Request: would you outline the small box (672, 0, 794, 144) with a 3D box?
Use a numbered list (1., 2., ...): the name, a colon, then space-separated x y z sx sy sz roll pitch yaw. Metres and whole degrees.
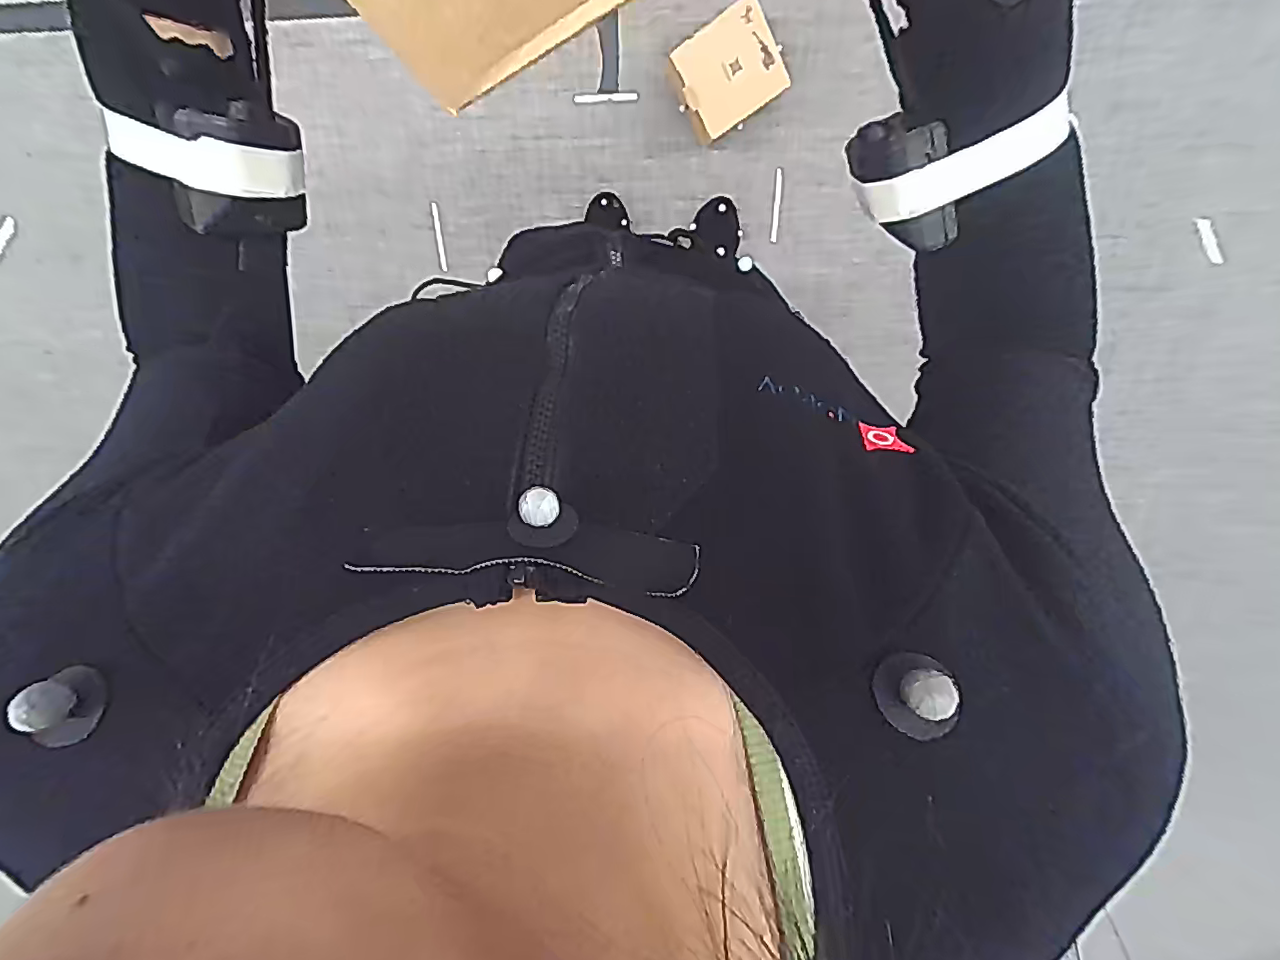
1. small box: 0.178 -0.806 1.078 0.179 0.176 0.168 -31 112 16
